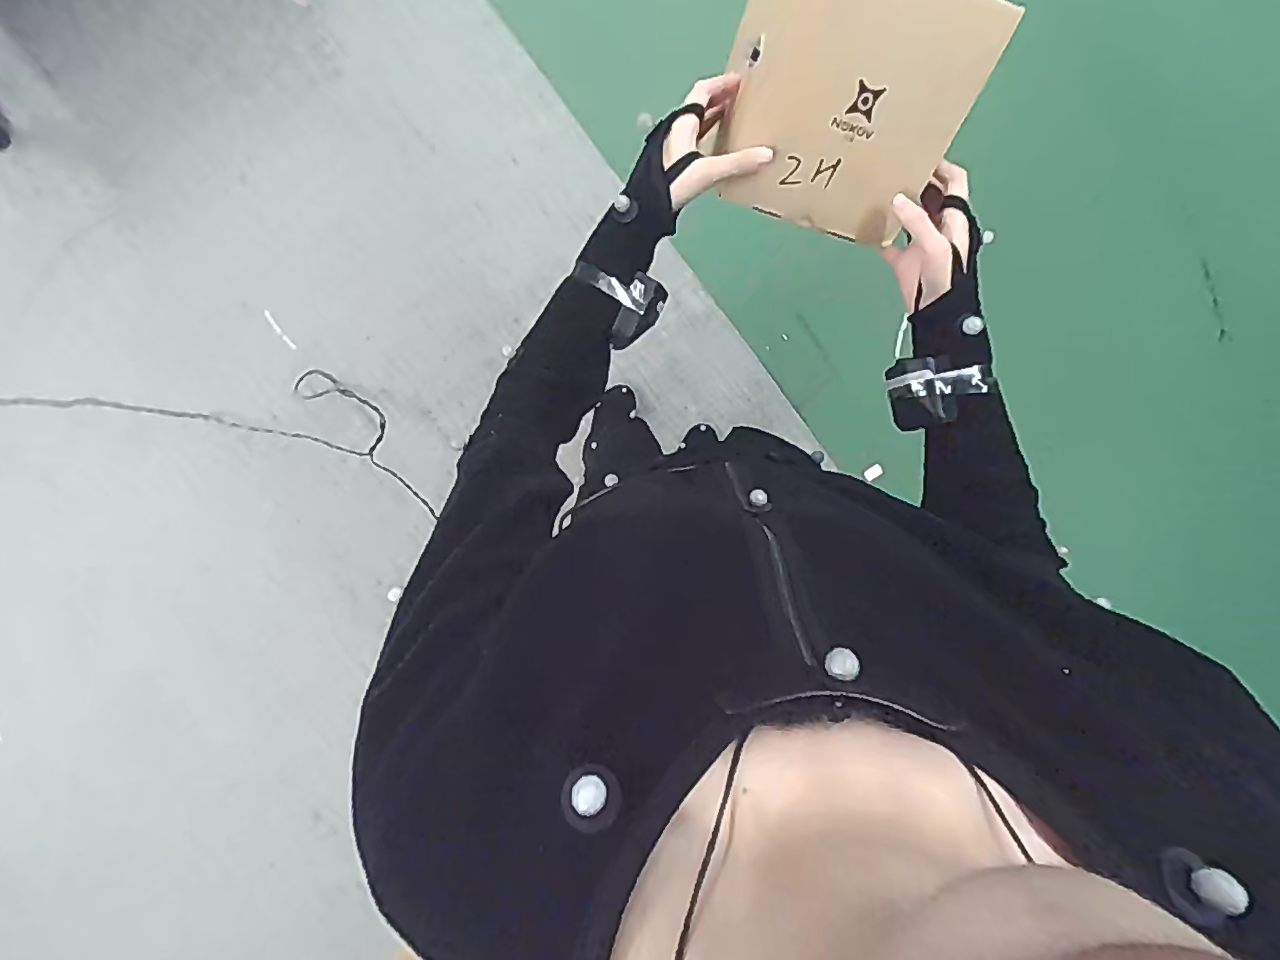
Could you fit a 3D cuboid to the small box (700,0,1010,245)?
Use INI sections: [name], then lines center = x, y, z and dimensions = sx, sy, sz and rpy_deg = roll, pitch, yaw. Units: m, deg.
[small box]
center = 0.159, -0.342, 0.475
dimensions = 0.168, 0.176, 0.179
rpy_deg = 11, 131, -11
